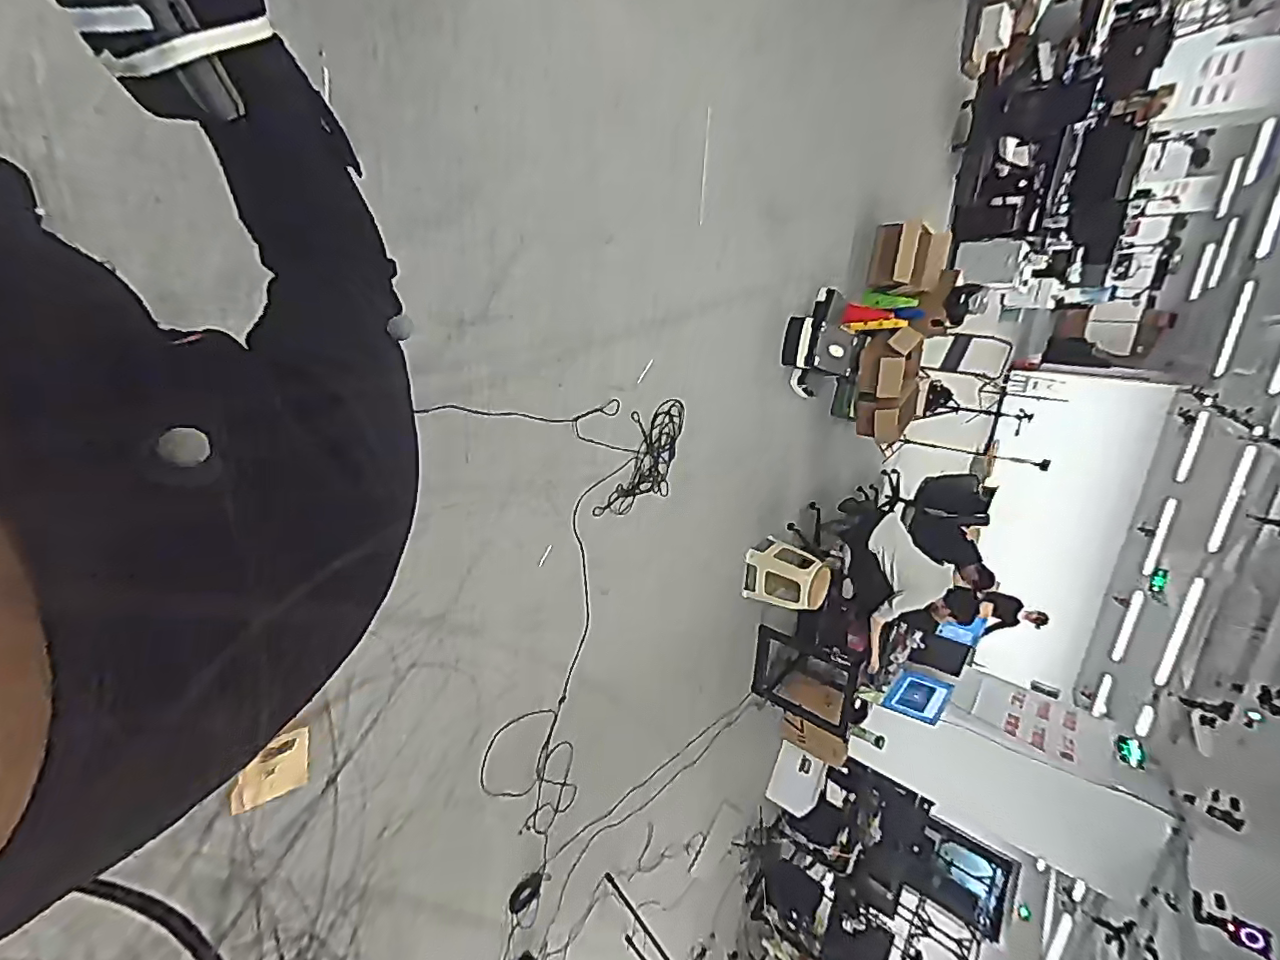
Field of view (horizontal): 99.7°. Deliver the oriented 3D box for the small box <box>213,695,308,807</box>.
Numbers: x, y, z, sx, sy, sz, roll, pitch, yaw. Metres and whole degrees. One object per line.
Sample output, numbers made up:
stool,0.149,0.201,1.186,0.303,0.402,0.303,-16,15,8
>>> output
small box,-0.974,0.679,1.386,0.168,0.176,0.179,-5,108,-50
